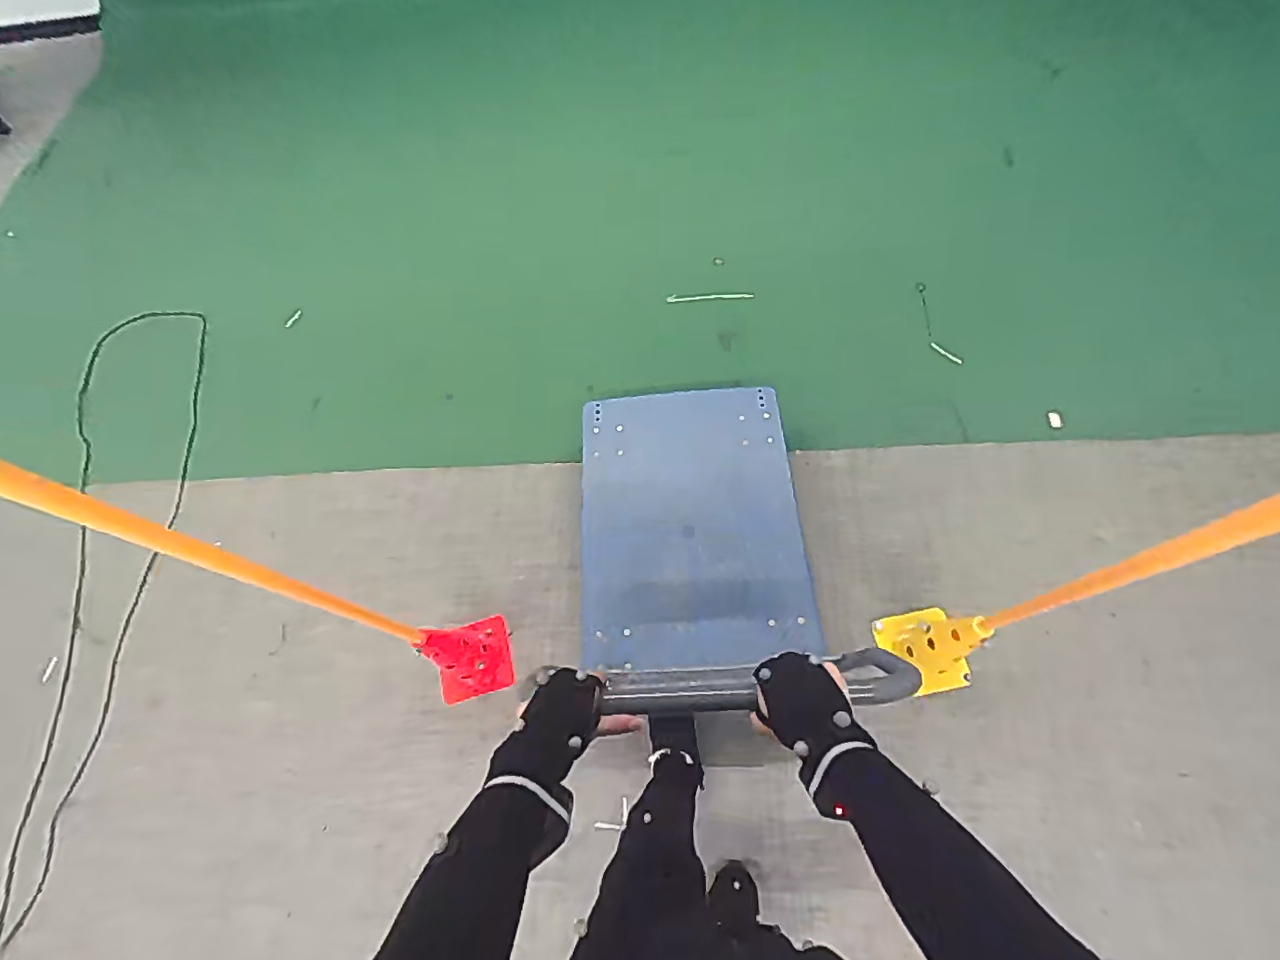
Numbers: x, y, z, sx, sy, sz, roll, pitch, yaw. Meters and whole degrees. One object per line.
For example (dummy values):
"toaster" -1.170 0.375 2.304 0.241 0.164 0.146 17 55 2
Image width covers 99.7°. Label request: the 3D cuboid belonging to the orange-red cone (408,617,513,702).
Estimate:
"orange-red cone" -0.472 0.420 1.335 0.199 0.360 0.198 -16 64 -1
